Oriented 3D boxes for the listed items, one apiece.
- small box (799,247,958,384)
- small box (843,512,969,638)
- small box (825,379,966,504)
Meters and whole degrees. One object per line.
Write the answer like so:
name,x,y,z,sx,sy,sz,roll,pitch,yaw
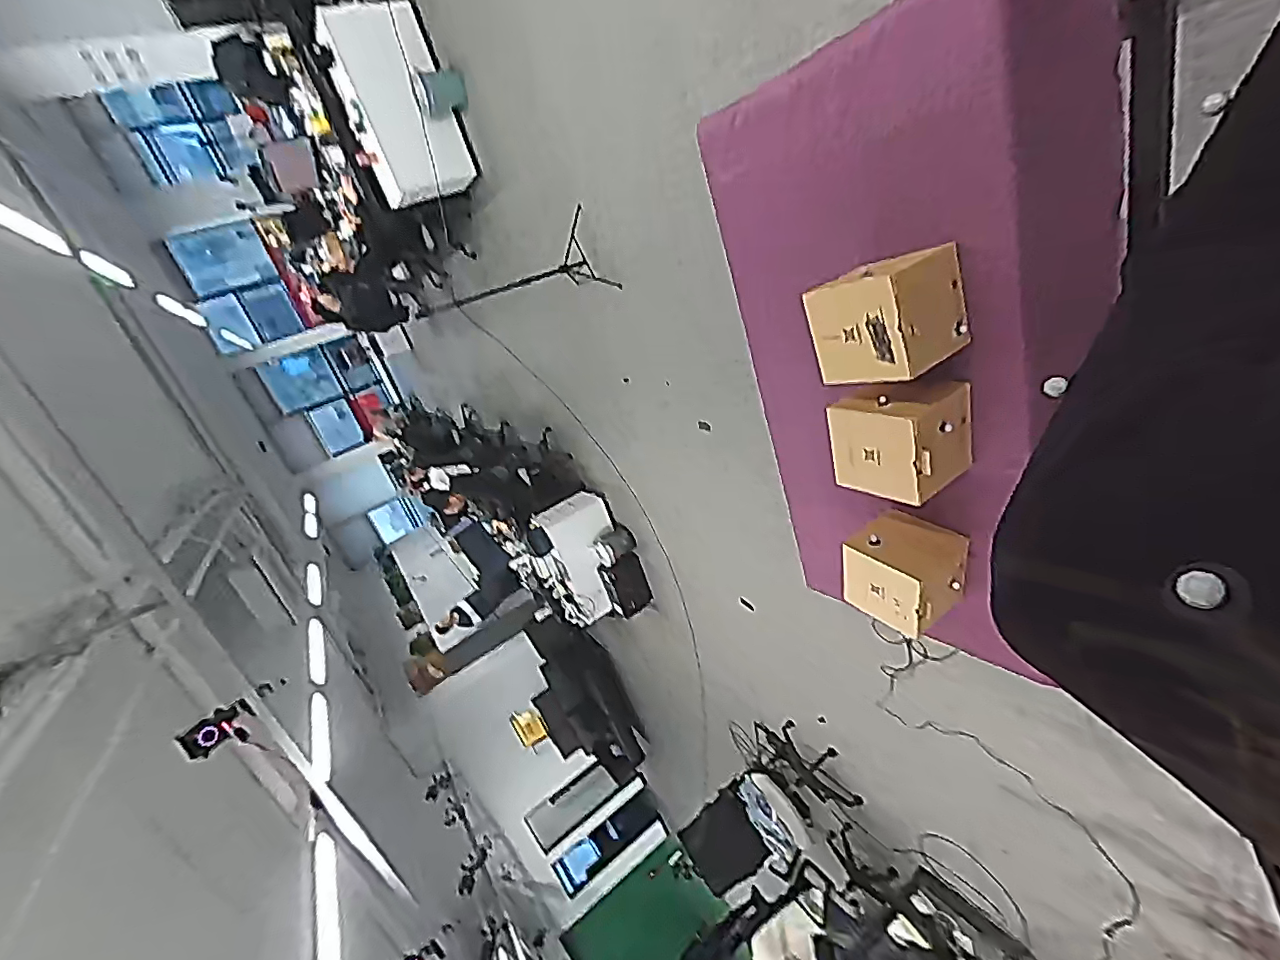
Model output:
small box,0.407,-0.273,0.912,0.179,0.176,0.168,13,129,60
small box,0.555,0.190,1.143,0.179,0.176,0.168,28,141,49
small box,0.475,-0.081,0.998,0.179,0.176,0.168,23,136,54
